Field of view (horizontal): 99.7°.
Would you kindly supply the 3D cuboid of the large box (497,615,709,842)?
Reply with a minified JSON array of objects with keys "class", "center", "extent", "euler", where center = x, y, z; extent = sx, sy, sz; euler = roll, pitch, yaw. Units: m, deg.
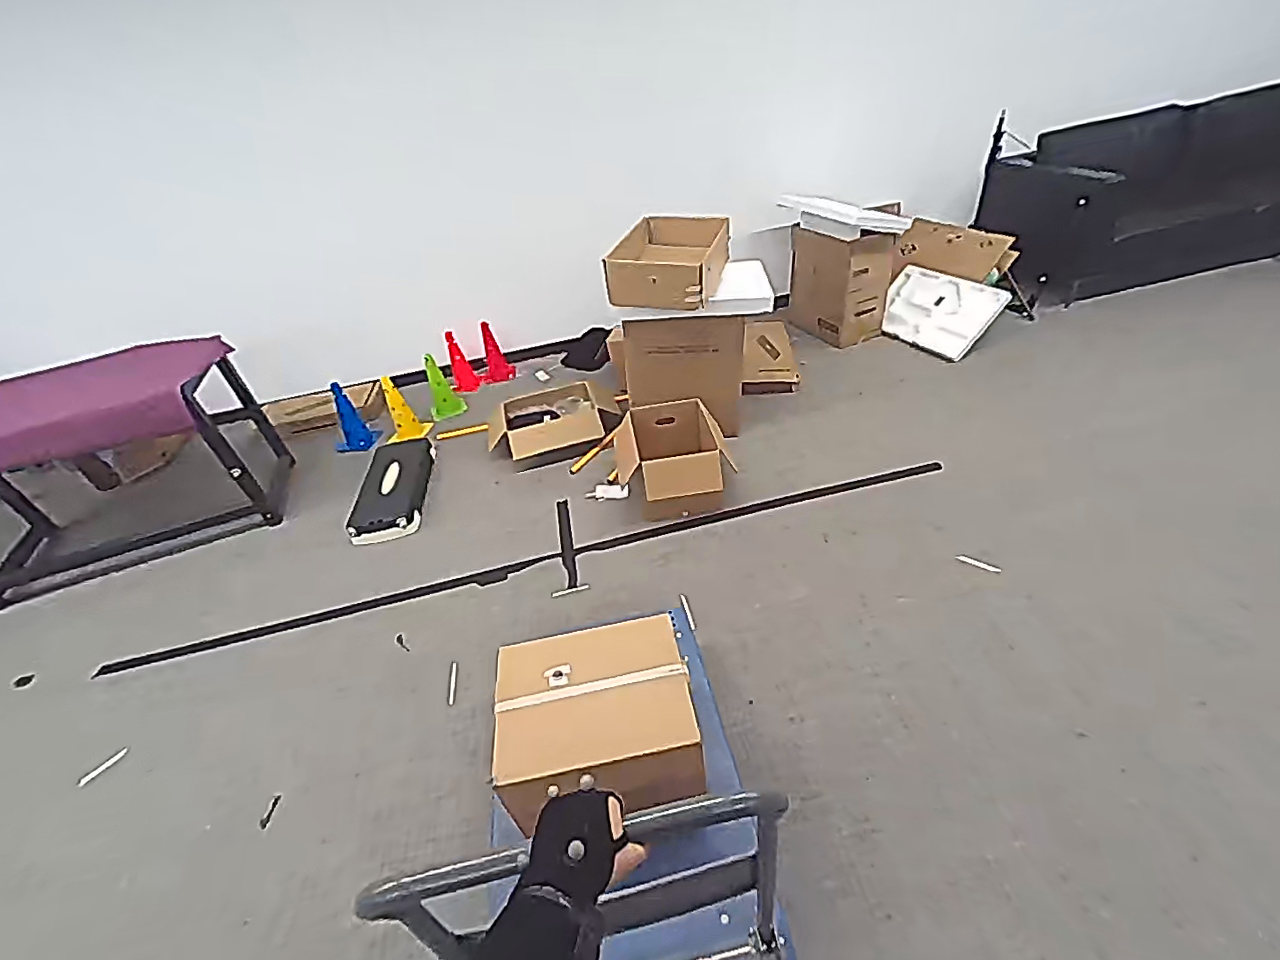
[{"class":"large box","center":[-0.081,0.565,1.241],"extent":[0.408,0.320,0.320],"euler":[-12,37,-2]}]
